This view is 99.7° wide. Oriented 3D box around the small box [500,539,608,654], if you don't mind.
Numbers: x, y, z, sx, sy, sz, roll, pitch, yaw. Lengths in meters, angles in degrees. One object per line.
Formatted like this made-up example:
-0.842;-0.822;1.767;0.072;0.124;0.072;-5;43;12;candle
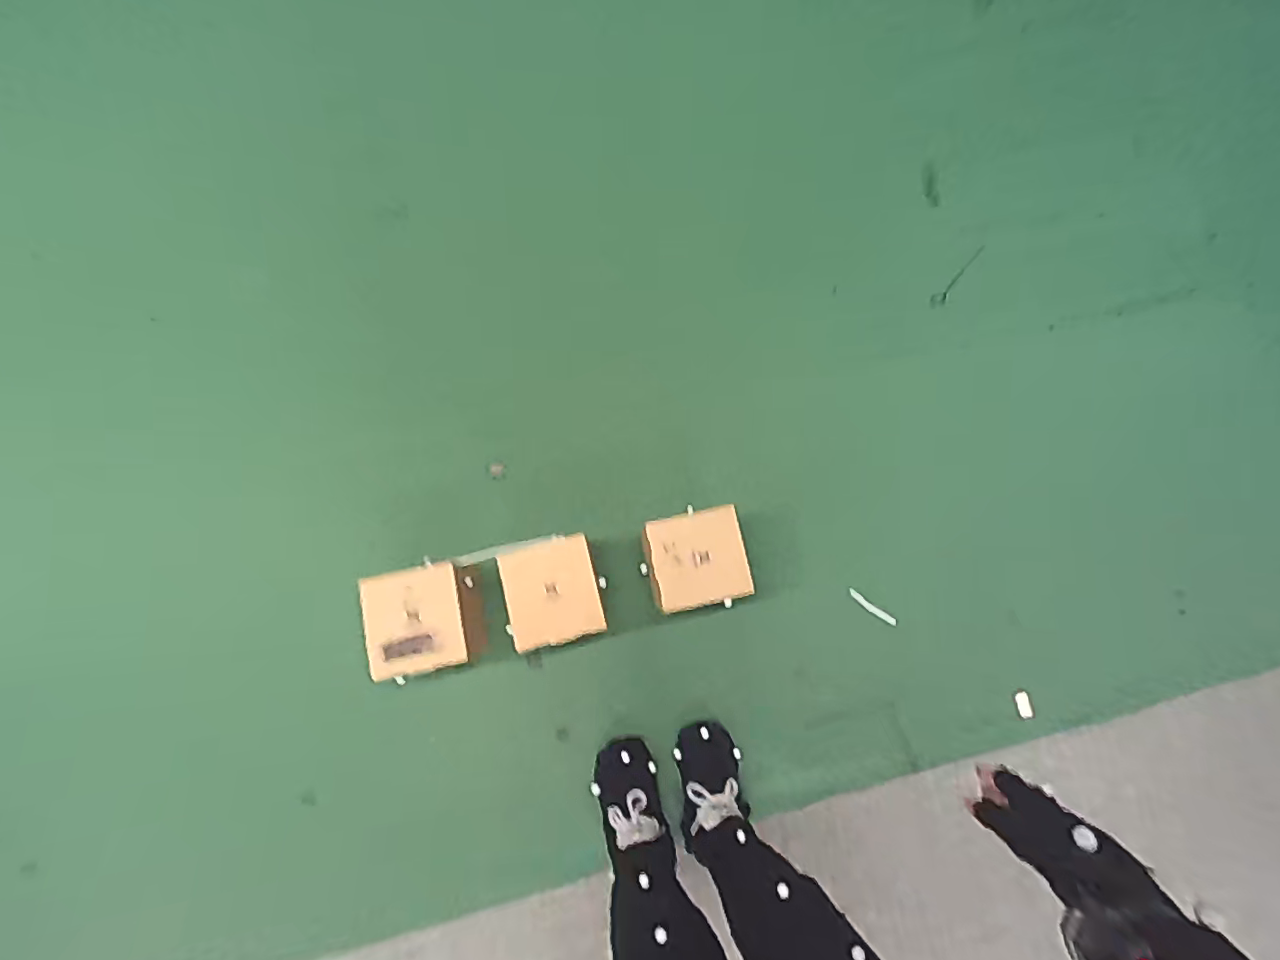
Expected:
-0.163;0.223;1.054;0.168;0.176;0.179;-13;82;-6;small box

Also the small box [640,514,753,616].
0.105;0.168;1.079;0.179;0.176;0.168;-11;81;-6;small box
